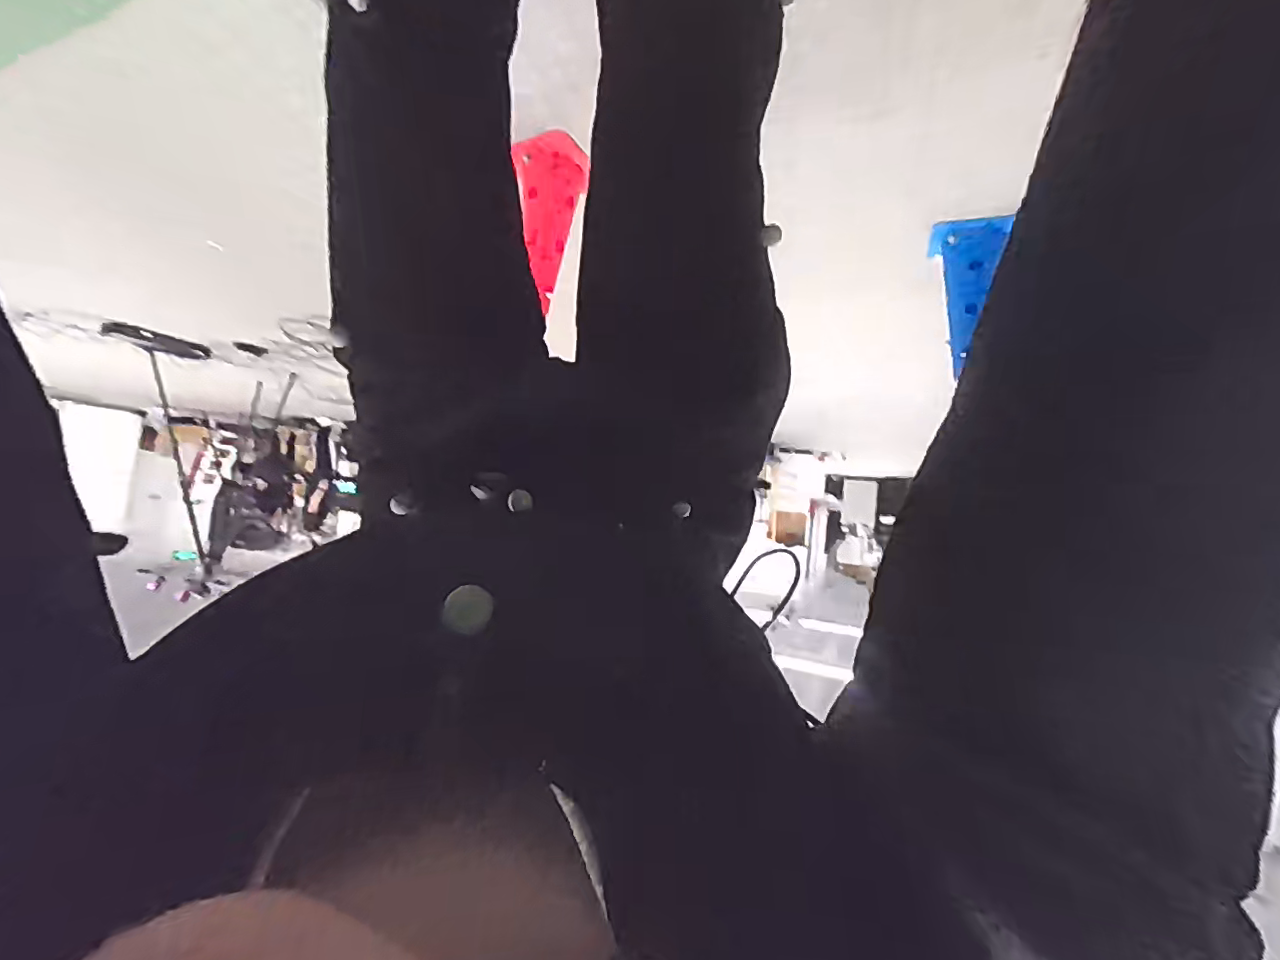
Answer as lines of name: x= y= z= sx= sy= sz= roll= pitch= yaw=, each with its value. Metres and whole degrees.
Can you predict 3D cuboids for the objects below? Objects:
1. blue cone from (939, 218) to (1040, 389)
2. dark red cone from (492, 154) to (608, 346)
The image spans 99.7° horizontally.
blue cone: x=0.812 y=-0.404 z=1.282 sx=0.192 sy=0.380 sz=0.193 roll=4 pitch=176 yaw=23
dark red cone: x=-0.220 y=-0.488 z=1.190 sx=0.202 sy=0.394 sz=0.201 roll=4 pitch=172 yaw=31
